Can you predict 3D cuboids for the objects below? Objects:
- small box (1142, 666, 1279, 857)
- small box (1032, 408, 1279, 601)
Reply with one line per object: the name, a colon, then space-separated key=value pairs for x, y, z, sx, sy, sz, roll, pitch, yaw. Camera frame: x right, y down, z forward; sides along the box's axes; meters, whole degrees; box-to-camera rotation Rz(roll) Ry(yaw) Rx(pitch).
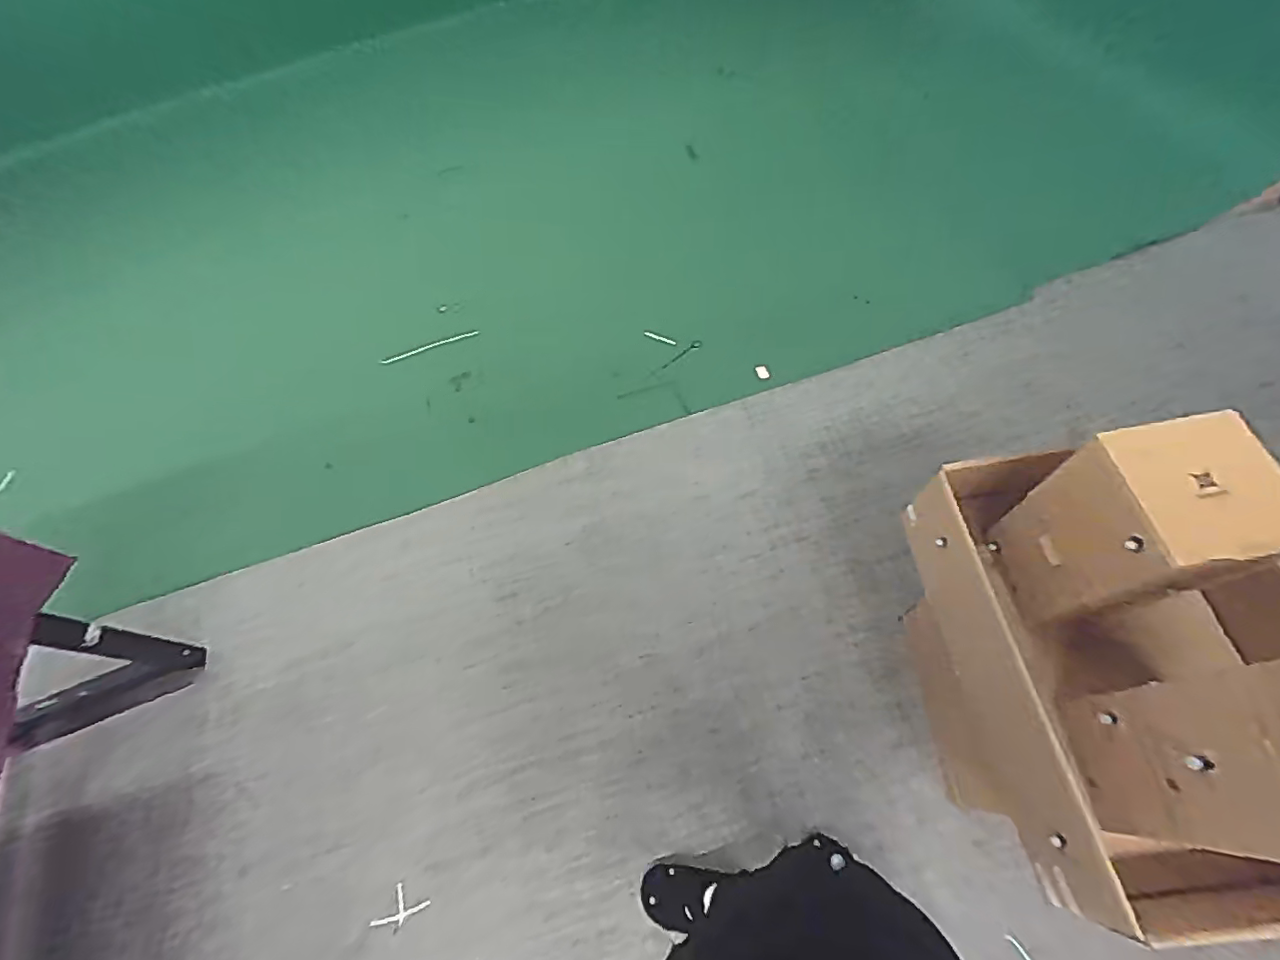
small box: x=0.674 y=0.286 z=0.550 sx=0.179 sy=0.176 sz=0.168 roll=-5 pitch=62 yaw=8
small box: x=0.651 y=0.038 z=0.686 sx=0.168 sy=0.176 sz=0.179 roll=-11 pitch=63 yaw=3
